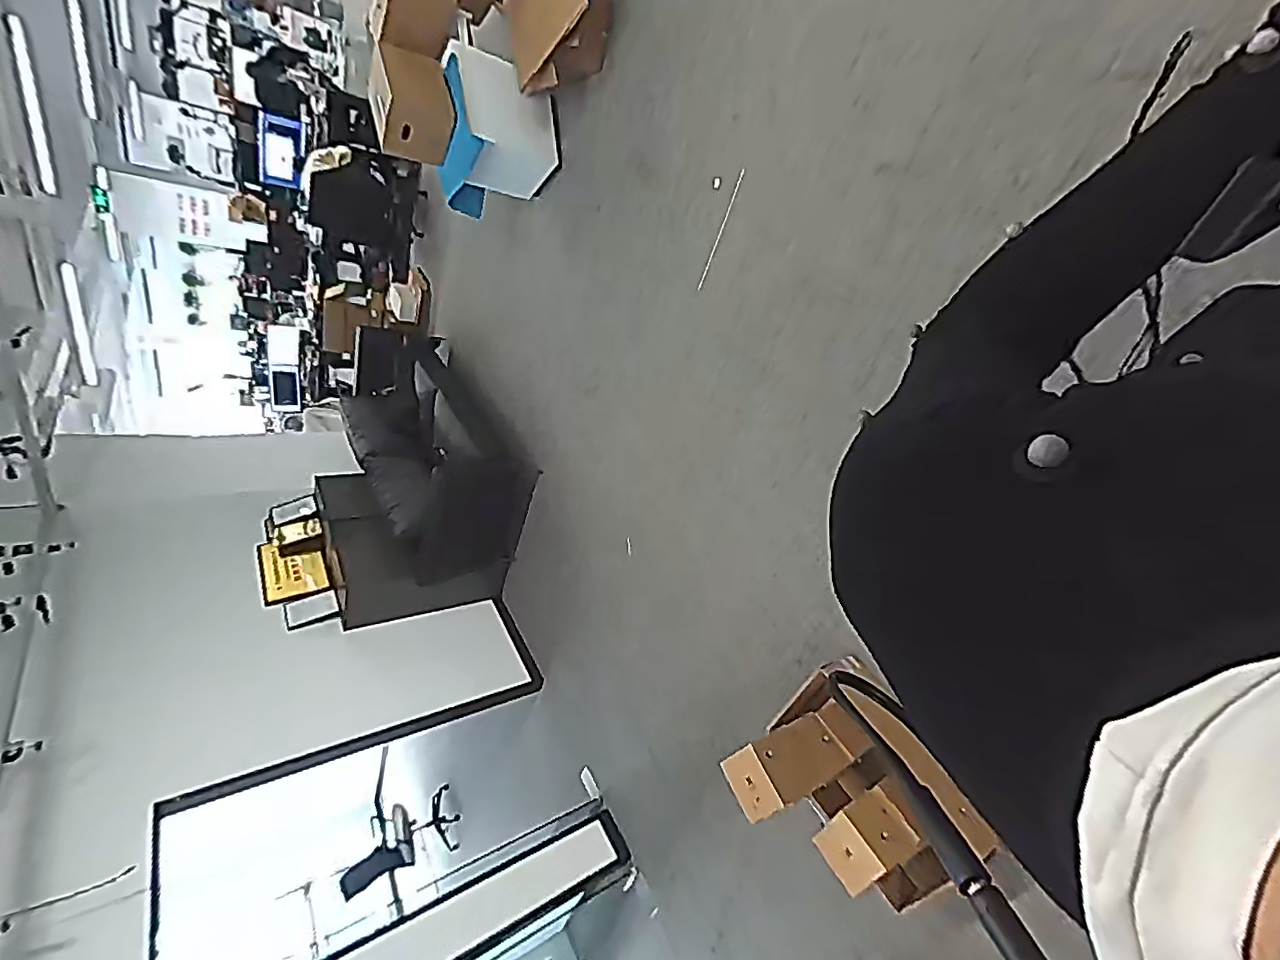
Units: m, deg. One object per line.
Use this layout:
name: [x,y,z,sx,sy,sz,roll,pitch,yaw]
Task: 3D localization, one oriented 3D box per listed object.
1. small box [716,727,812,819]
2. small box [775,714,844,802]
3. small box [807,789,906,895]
small box: [0.363,0.849,1.586,0.168,0.176,0.179,-55,52,38]
small box: [0.493,0.859,1.690,0.179,0.176,0.168,54,131,35]
small box: [0.622,1.025,1.543,0.168,0.176,0.179,50,130,40]
